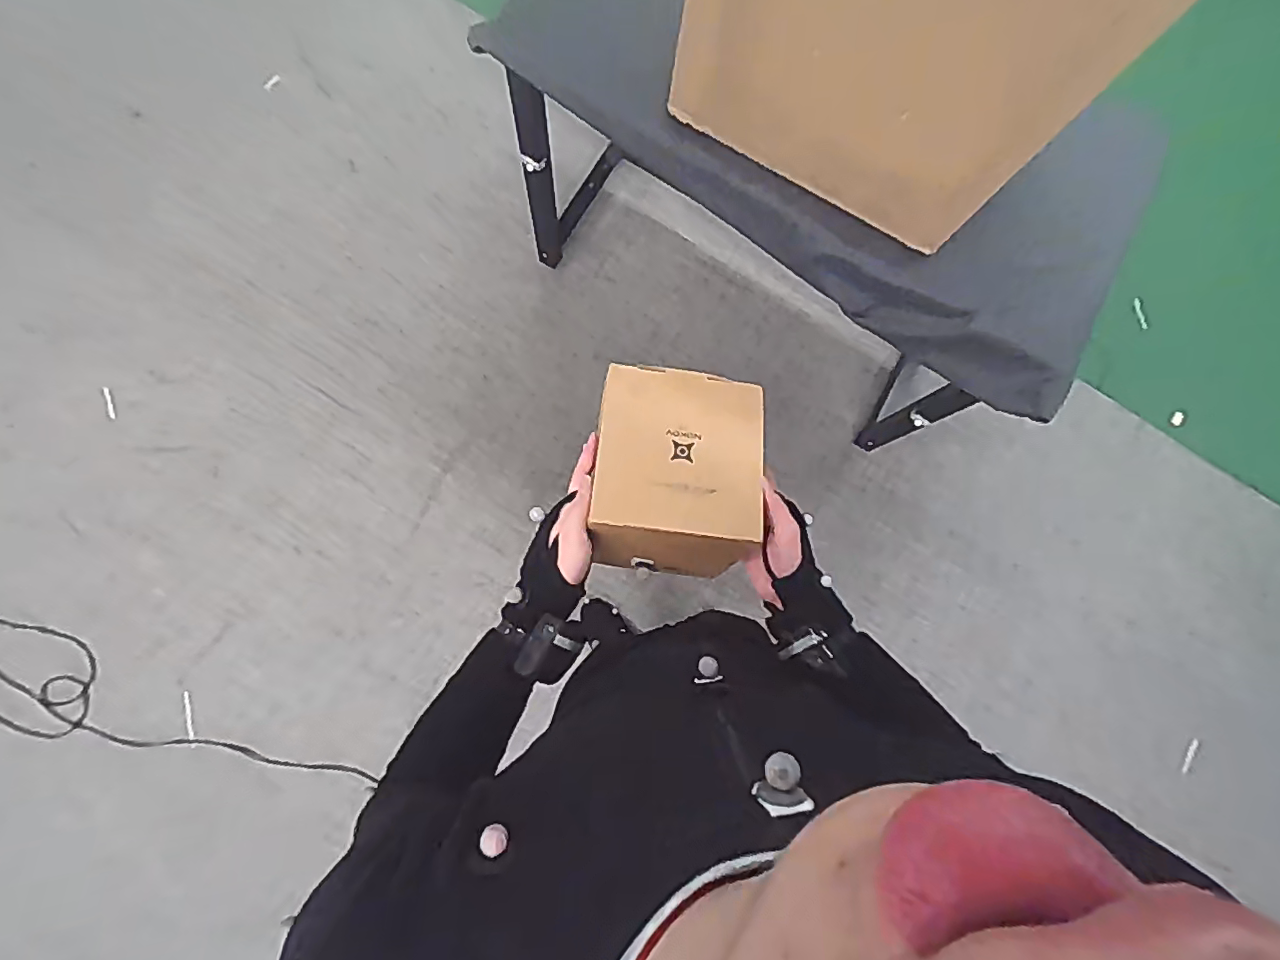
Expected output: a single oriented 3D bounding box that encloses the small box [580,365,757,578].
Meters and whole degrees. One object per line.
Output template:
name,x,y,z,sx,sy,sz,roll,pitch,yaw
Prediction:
small box,0.025,0.000,0.611,0.168,0.176,0.179,8,68,-6
